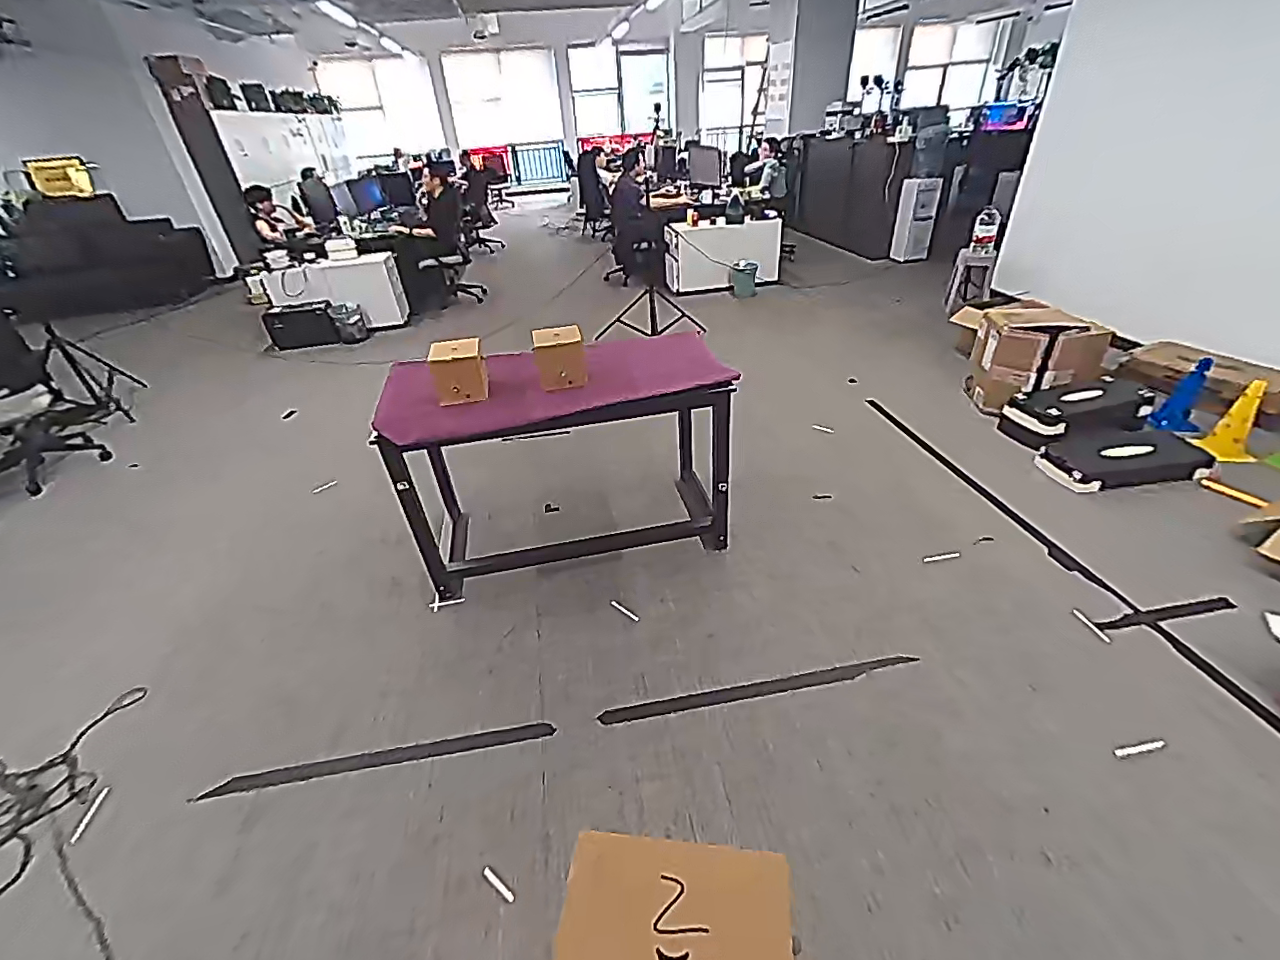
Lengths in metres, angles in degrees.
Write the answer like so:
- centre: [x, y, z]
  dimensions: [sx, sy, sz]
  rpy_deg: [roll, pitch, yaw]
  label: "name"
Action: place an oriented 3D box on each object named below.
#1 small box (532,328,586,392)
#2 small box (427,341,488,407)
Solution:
- centre: [-0.292, -0.434, 1.952]
  dimensions: [0.168, 0.176, 0.179]
  rpy_deg: [-10, 35, -7]
  label: "small box"
- centre: [-0.637, -0.373, 1.904]
  dimensions: [0.168, 0.176, 0.179]
  rpy_deg: [-10, 35, -9]
  label: "small box"
